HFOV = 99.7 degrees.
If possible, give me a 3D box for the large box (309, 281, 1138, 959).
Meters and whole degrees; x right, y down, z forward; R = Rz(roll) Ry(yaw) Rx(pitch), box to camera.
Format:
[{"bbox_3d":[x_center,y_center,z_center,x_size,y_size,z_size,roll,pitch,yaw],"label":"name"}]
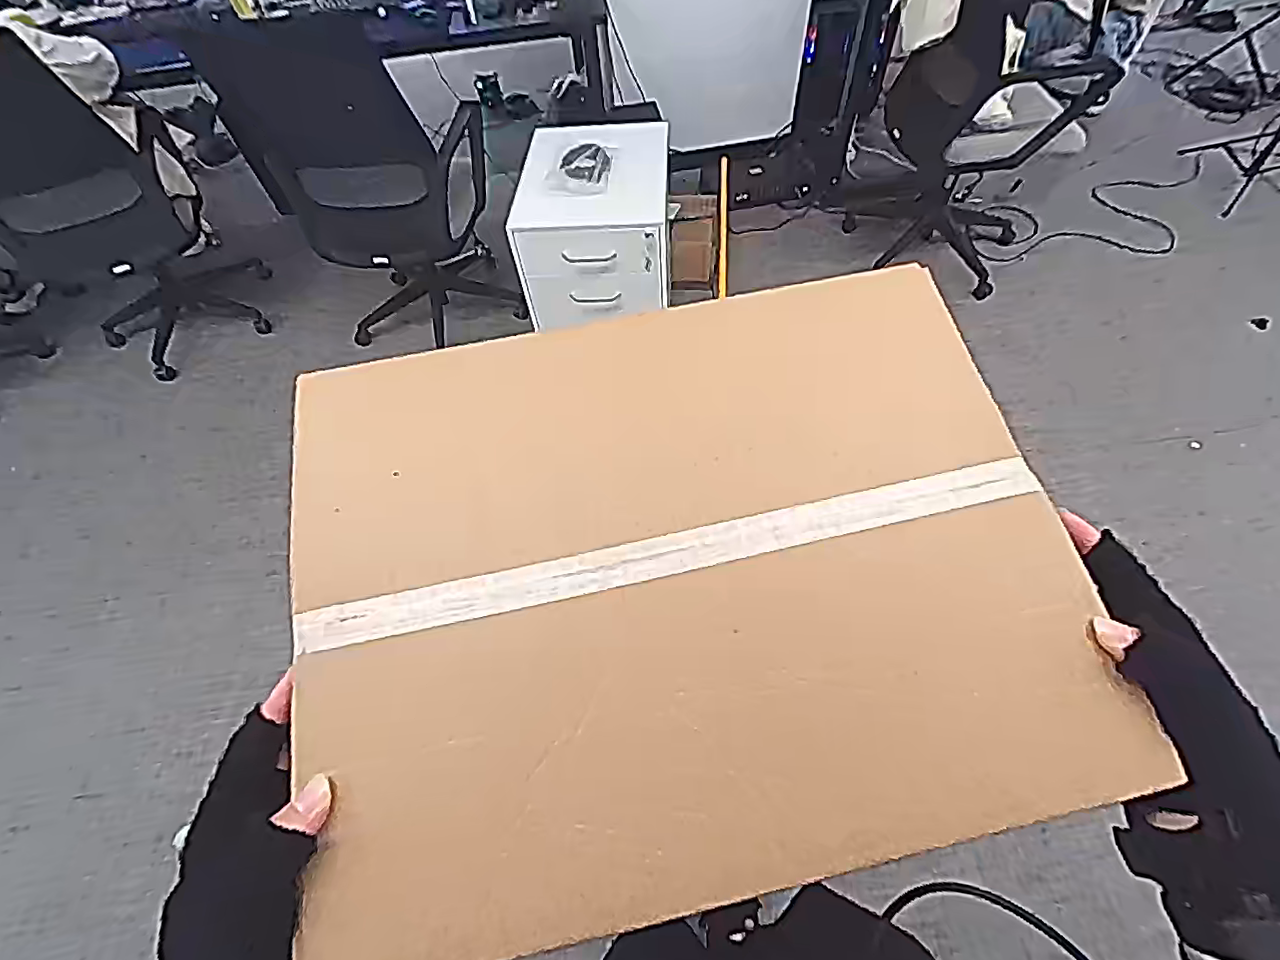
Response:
[{"bbox_3d":[0.024,0.097,0.439,0.408,0.320,0.320,-12,69,-3],"label":"large box"}]
